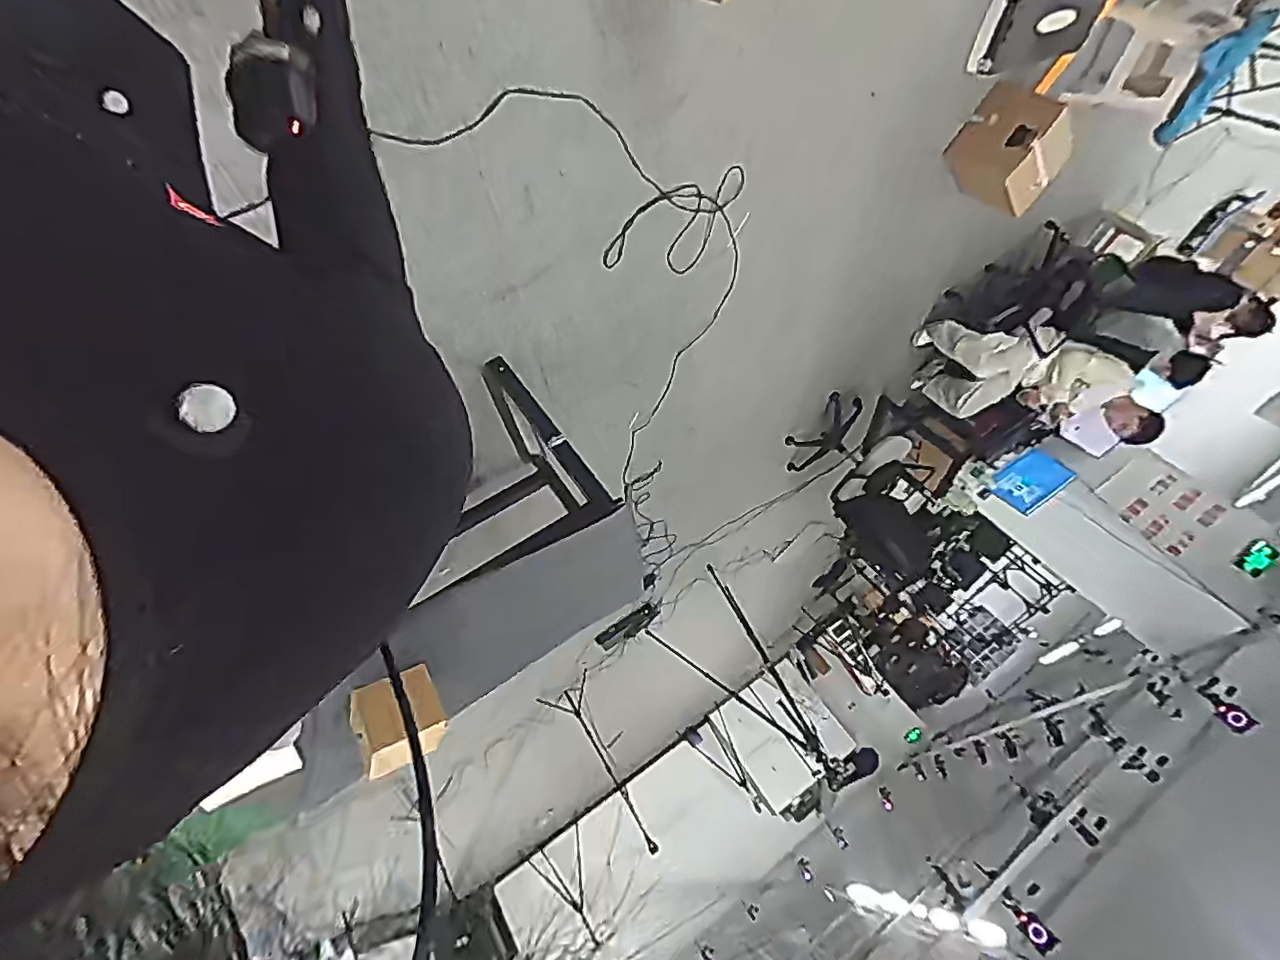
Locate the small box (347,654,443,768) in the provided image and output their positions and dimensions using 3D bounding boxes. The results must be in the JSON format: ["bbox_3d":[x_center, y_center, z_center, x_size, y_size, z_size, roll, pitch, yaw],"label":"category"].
[{"bbox_3d":[-0.620,0.573,1.356,0.179,0.176,0.168,-14,142,-40],"label":"small box"}]
